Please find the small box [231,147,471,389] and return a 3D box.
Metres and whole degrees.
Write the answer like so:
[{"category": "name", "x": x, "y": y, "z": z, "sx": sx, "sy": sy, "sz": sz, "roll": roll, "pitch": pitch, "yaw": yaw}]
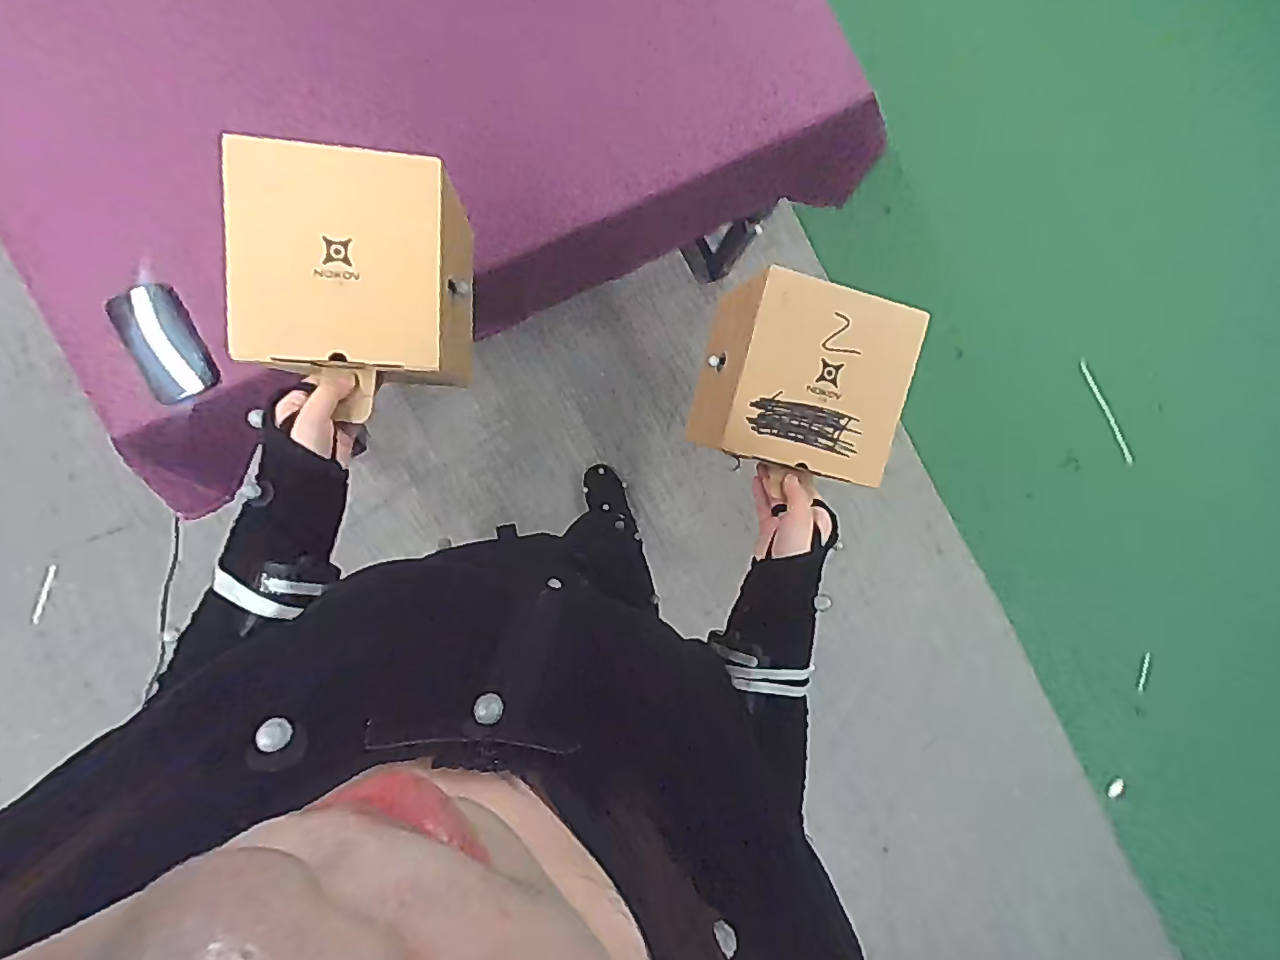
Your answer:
[{"category": "small box", "x": -0.264, "y": -0.187, "z": 0.531, "sx": 0.168, "sy": 0.176, "sz": 0.179, "roll": 1, "pitch": 96, "yaw": -10}]
